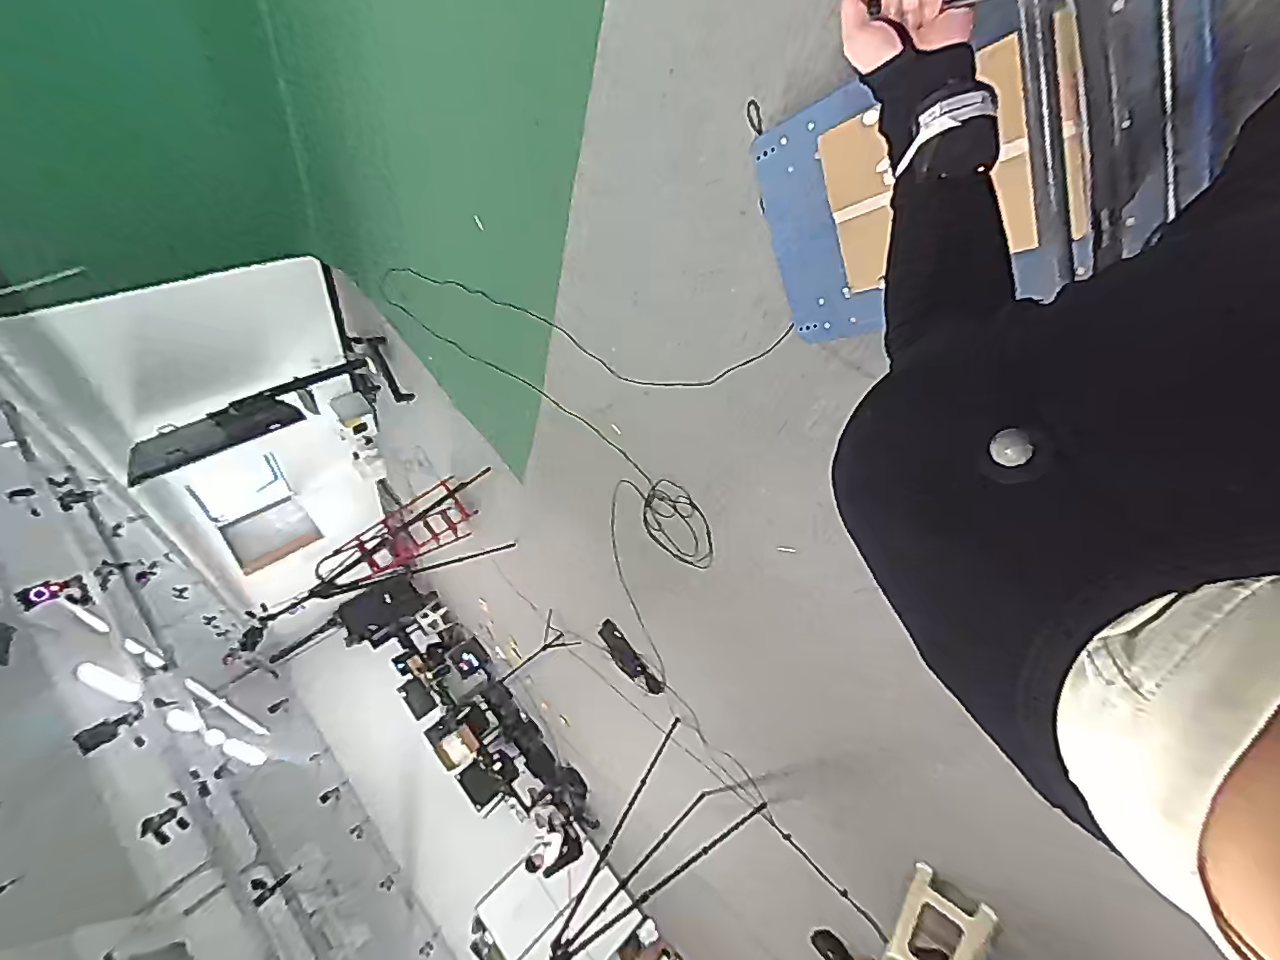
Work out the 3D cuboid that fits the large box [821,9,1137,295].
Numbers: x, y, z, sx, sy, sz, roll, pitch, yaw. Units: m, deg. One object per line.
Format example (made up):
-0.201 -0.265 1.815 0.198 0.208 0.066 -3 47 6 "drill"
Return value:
0.632 -0.590 1.025 0.408 0.320 0.320 3 118 52 "large box"
